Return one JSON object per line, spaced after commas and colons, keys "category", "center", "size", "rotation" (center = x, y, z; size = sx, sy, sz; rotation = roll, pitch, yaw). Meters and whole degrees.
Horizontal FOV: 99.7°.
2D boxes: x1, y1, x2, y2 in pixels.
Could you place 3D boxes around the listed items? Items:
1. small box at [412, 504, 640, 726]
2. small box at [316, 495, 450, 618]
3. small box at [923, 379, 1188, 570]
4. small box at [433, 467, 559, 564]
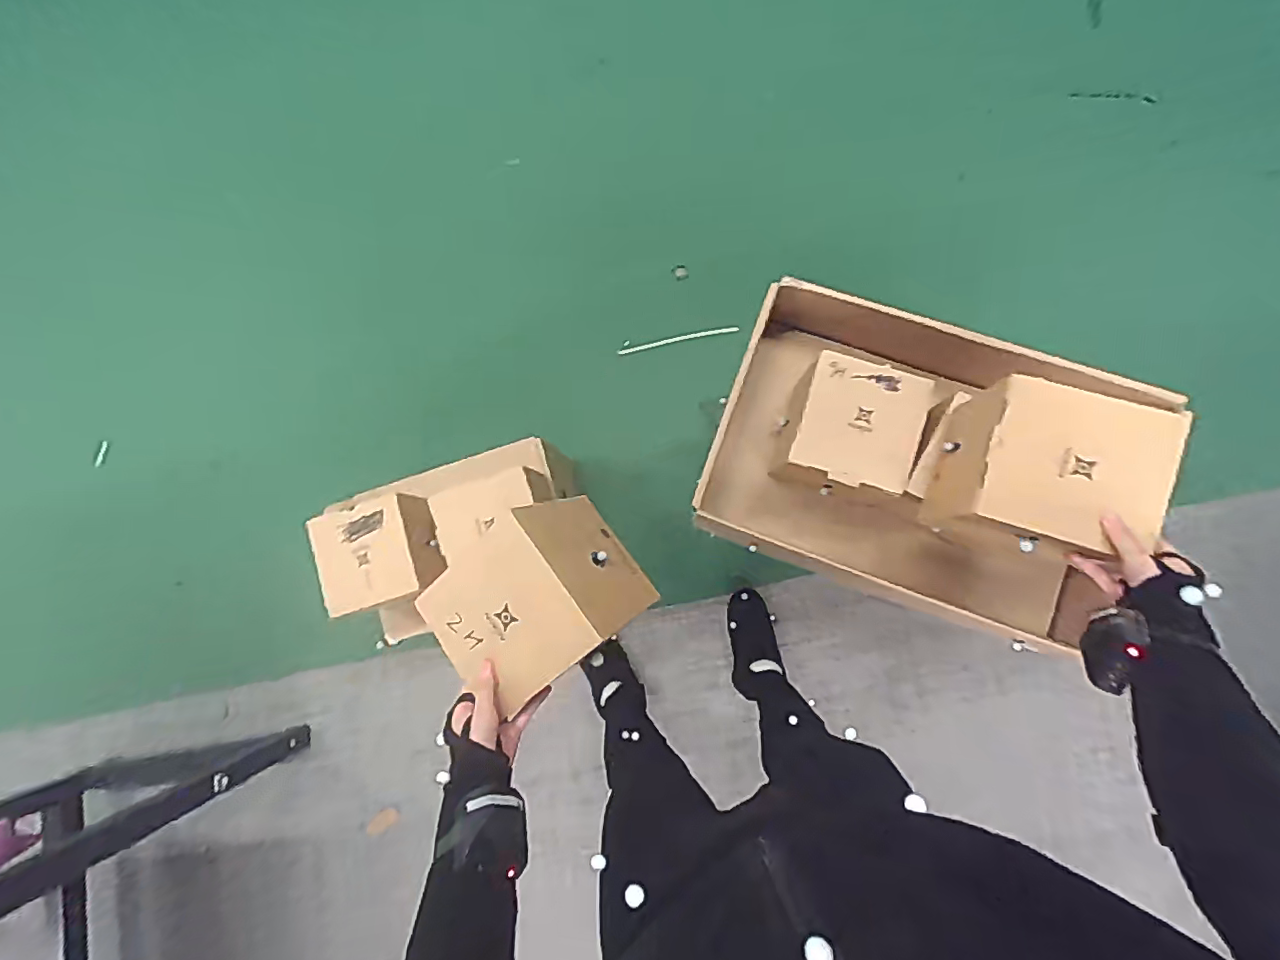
{"category": "small box", "center": [-0.120, 0.144, 0.641], "size": [0.179, 0.176, 0.168], "rotation": [-43, 77, 18]}
{"category": "small box", "center": [-0.455, 0.140, 0.999], "size": [0.168, 0.176, 0.179], "rotation": [-18, 81, 3]}
{"category": "small box", "center": [0.477, -0.002, 0.652], "size": [0.179, 0.176, 0.168], "rotation": [17, 87, 12]}
{"category": "small box", "center": [-0.242, 0.090, 0.986], "size": [0.179, 0.176, 0.168], "rotation": [-19, 83, 2]}
